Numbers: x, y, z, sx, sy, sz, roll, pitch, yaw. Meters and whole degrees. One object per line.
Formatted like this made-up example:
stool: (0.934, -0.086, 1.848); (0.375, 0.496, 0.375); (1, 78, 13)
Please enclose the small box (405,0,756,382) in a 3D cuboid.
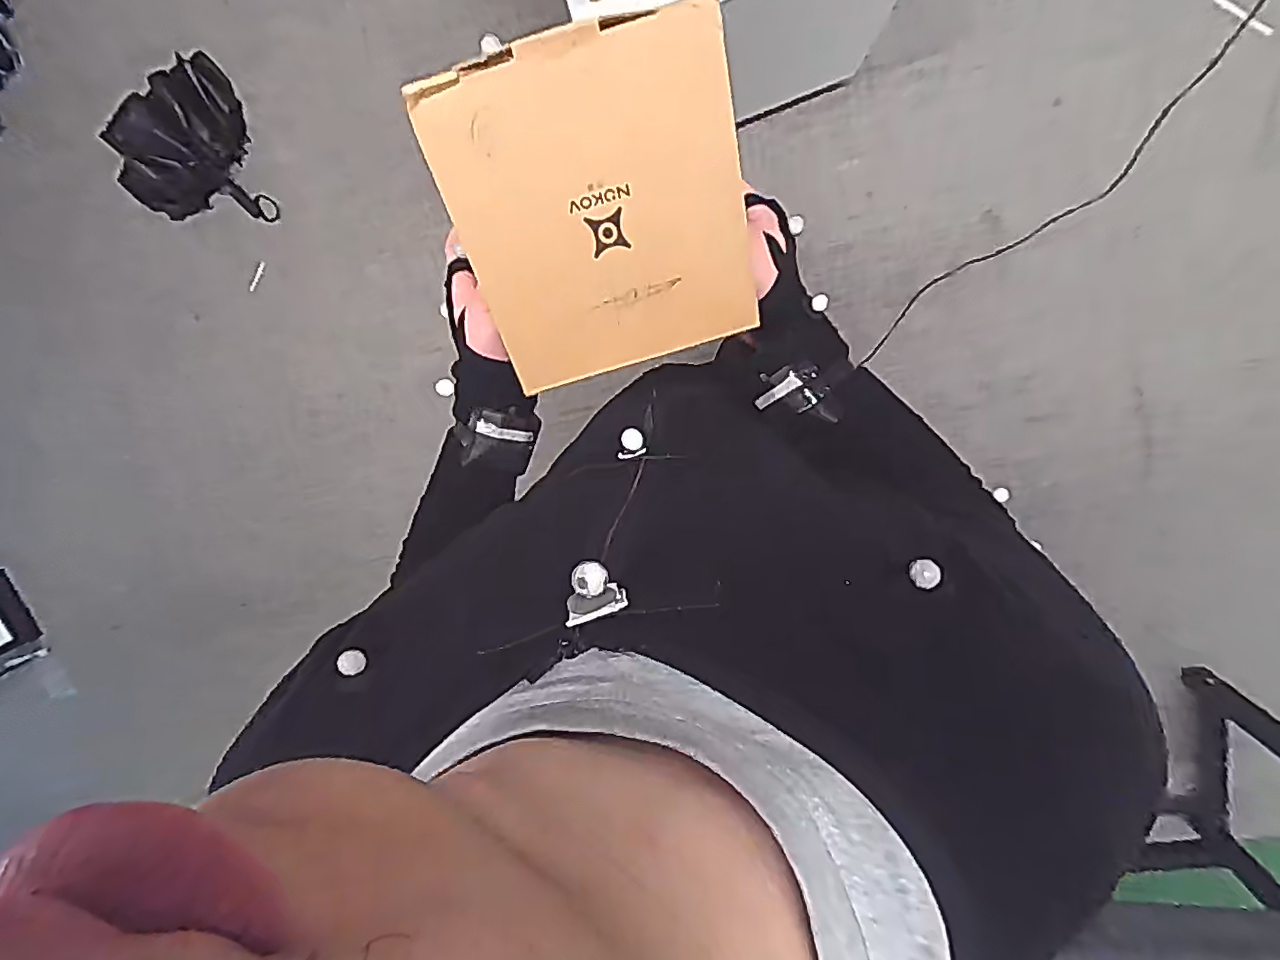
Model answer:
small box: (-0.031, -0.199, 0.376); (0.168, 0.176, 0.179); (-15, 127, 3)
